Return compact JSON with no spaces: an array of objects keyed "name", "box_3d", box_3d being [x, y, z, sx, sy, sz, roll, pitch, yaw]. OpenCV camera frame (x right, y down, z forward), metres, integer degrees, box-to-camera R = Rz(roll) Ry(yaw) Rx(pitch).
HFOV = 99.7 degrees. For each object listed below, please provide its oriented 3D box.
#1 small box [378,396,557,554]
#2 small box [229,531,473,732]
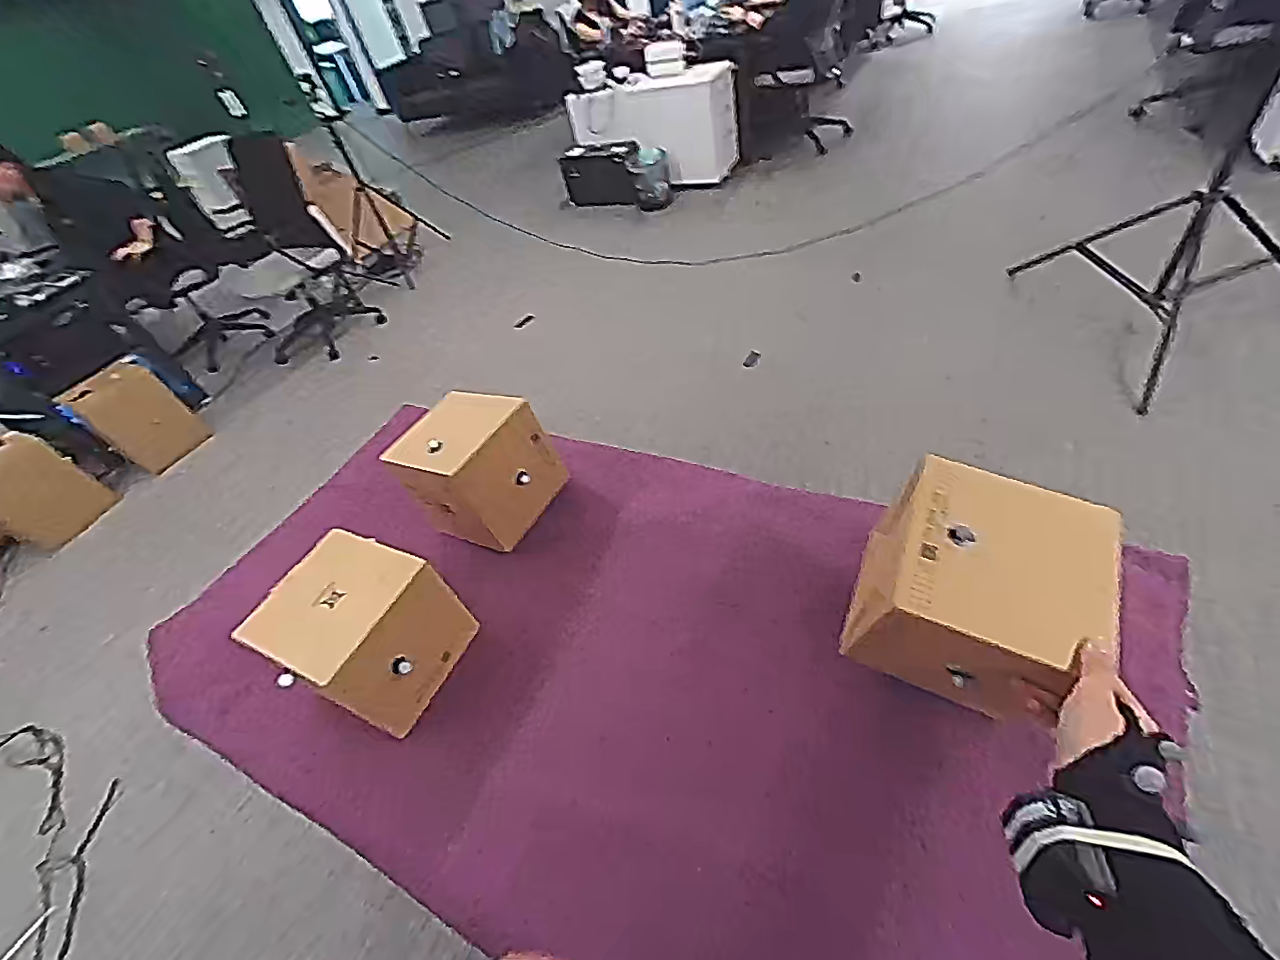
[{"name":"small box","box_3d":[-0.253,-0.015,0.839,0.179,0.168,0.176,10,50,34]},{"name":"small box","box_3d":[-0.348,0.194,0.687,0.179,0.176,0.168,12,52,25]}]
